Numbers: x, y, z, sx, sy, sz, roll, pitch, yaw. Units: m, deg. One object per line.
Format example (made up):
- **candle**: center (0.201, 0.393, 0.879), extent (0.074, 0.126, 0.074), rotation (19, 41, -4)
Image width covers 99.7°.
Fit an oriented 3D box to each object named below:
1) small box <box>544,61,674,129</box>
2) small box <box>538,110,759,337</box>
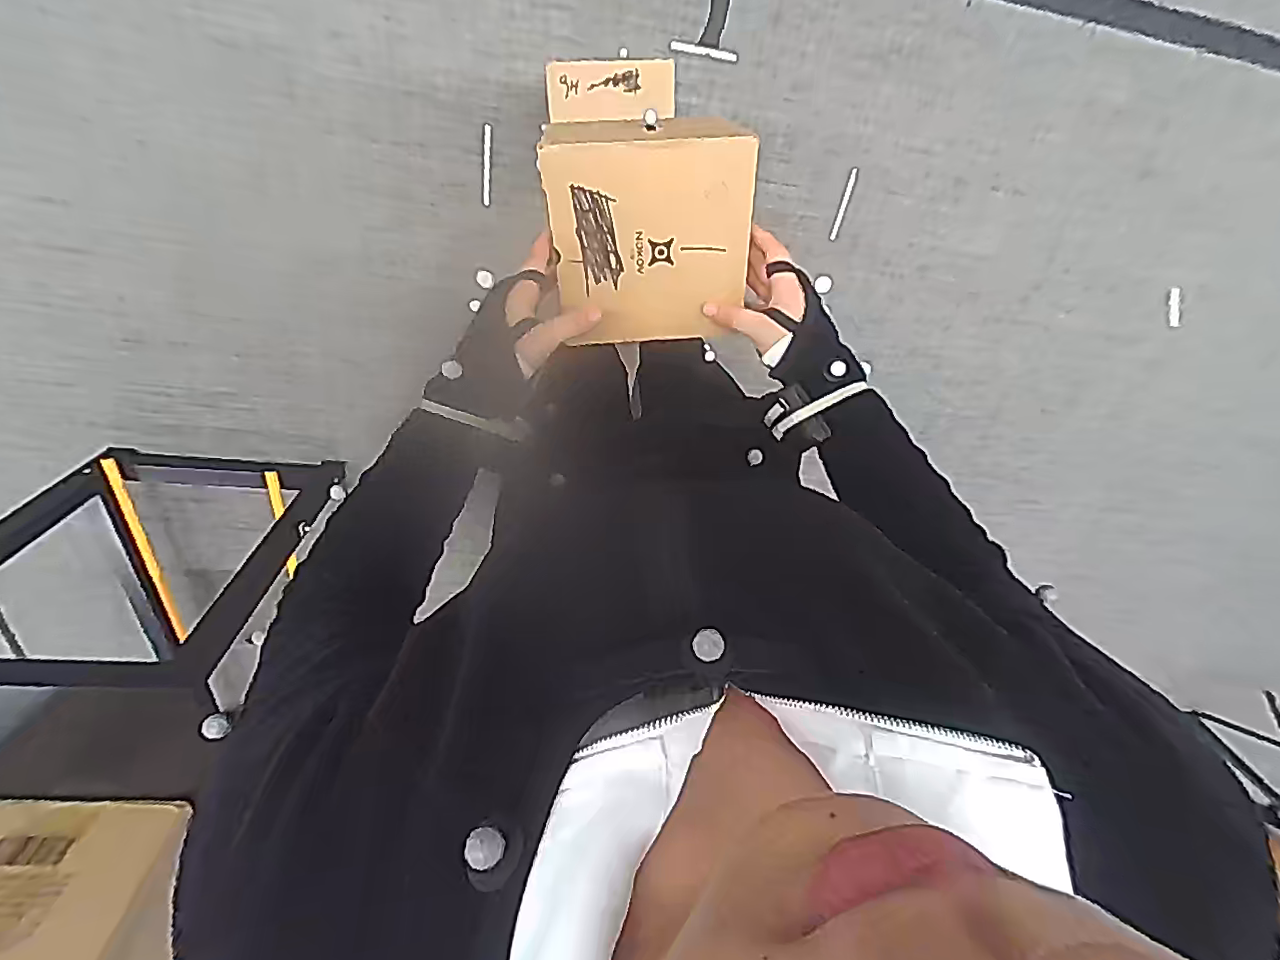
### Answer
- **small box**: center (-0.042, -0.496, 0.788), extent (0.168, 0.176, 0.179), rotation (-3, 123, -3)
- **small box**: center (0.003, -0.255, 0.530), extent (0.179, 0.176, 0.168), rotation (-5, 129, -3)
